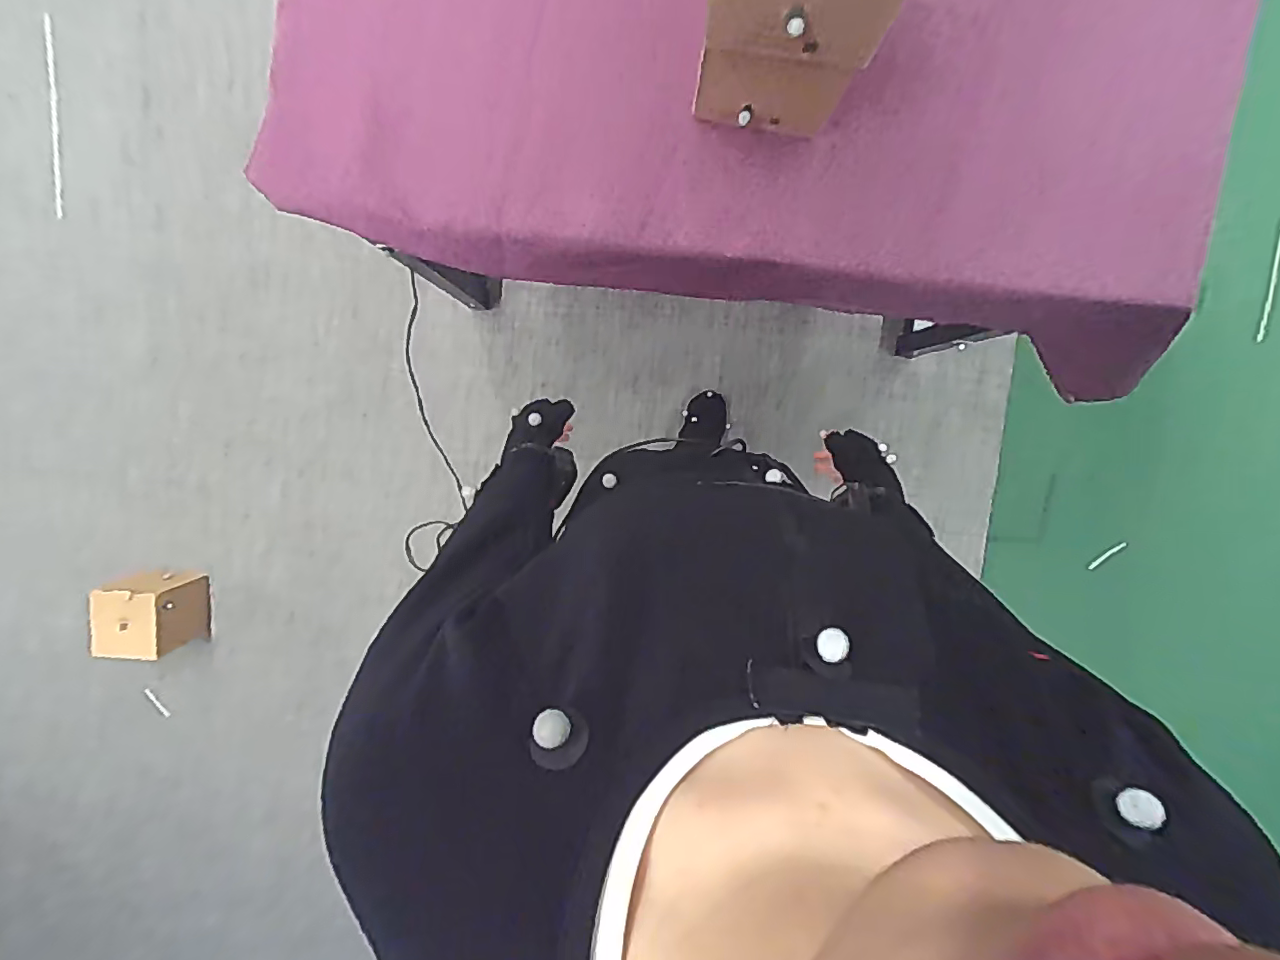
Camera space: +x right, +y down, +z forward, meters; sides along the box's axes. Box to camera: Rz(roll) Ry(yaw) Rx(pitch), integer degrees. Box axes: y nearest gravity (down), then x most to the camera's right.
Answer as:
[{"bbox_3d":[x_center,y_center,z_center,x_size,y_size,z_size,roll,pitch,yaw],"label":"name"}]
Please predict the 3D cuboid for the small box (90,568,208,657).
[{"bbox_3d":[-1.285,0.344,1.427,0.168,0.176,0.179,4,96,-1],"label":"small box"}]

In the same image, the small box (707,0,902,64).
[{"bbox_3d":[0.153,-0.497,0.444,0.168,0.176,0.179,8,96,1],"label":"small box"}]

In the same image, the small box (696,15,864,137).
[{"bbox_3d":[0.161,-0.529,0.605,0.168,0.176,0.179,10,96,0],"label":"small box"}]
